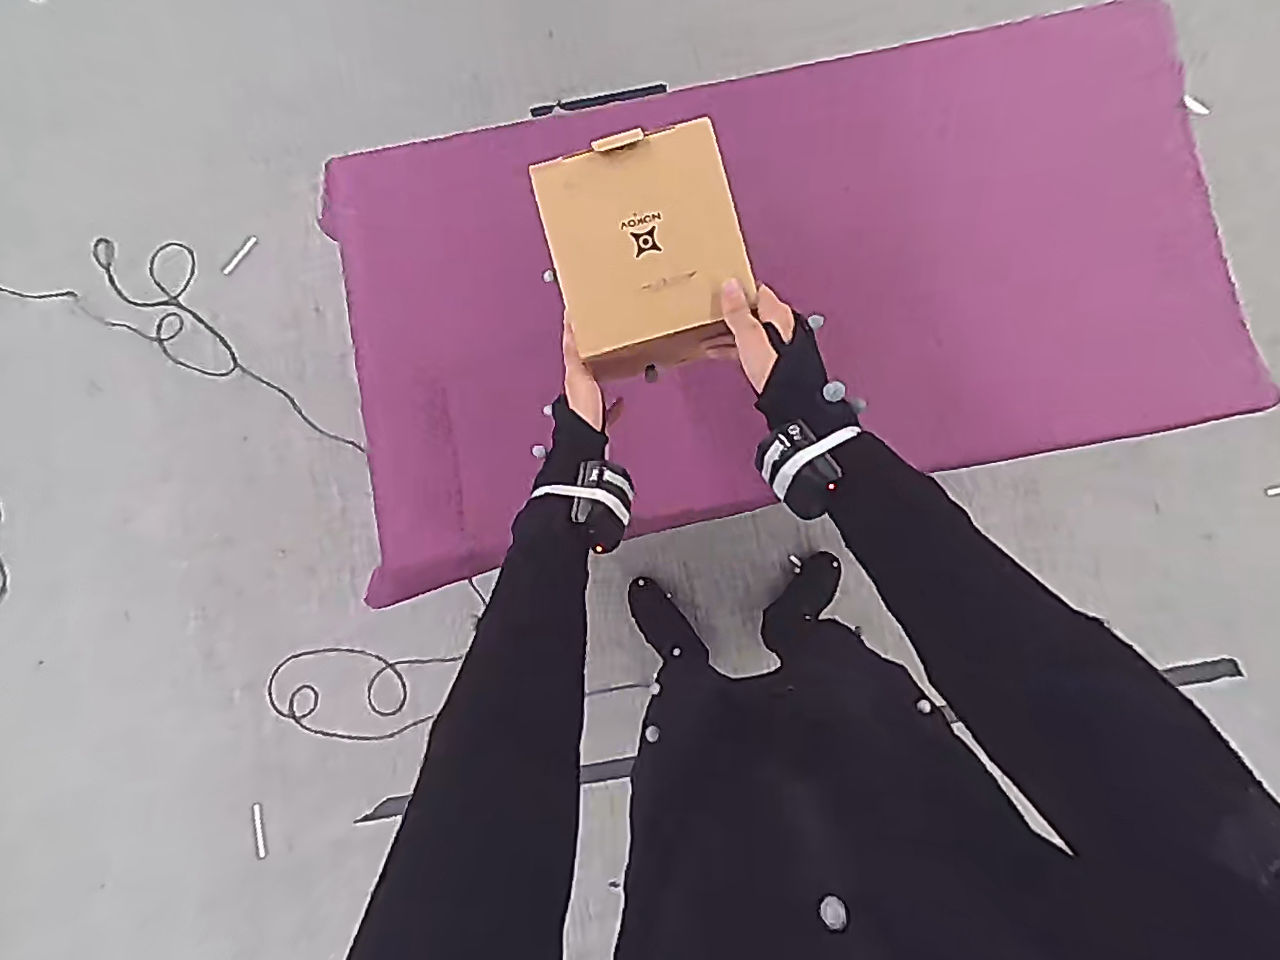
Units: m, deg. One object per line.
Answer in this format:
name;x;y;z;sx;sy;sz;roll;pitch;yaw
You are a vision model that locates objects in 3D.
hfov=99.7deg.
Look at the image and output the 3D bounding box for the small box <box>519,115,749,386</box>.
small box;-0.006;-0.208;0.539;0.168;0.176;0.179;-15;90;1
